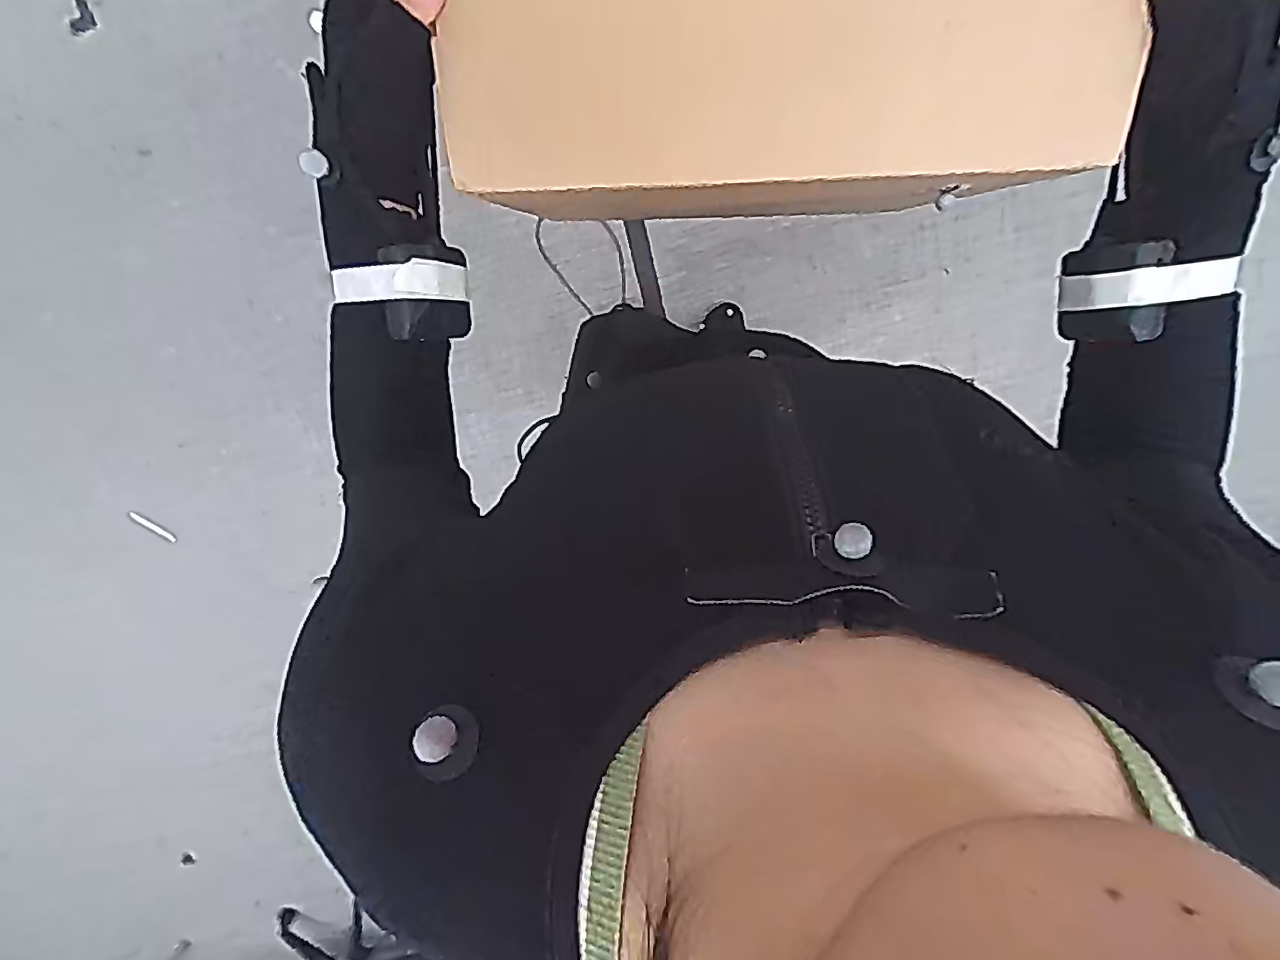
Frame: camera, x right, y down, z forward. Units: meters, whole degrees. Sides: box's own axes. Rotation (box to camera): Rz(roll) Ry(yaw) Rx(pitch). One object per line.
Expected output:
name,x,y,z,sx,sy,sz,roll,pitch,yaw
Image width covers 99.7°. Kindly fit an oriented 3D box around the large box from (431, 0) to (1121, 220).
large box,0.080,-0.392,0.426,0.408,0.320,0.320,-1,112,3
